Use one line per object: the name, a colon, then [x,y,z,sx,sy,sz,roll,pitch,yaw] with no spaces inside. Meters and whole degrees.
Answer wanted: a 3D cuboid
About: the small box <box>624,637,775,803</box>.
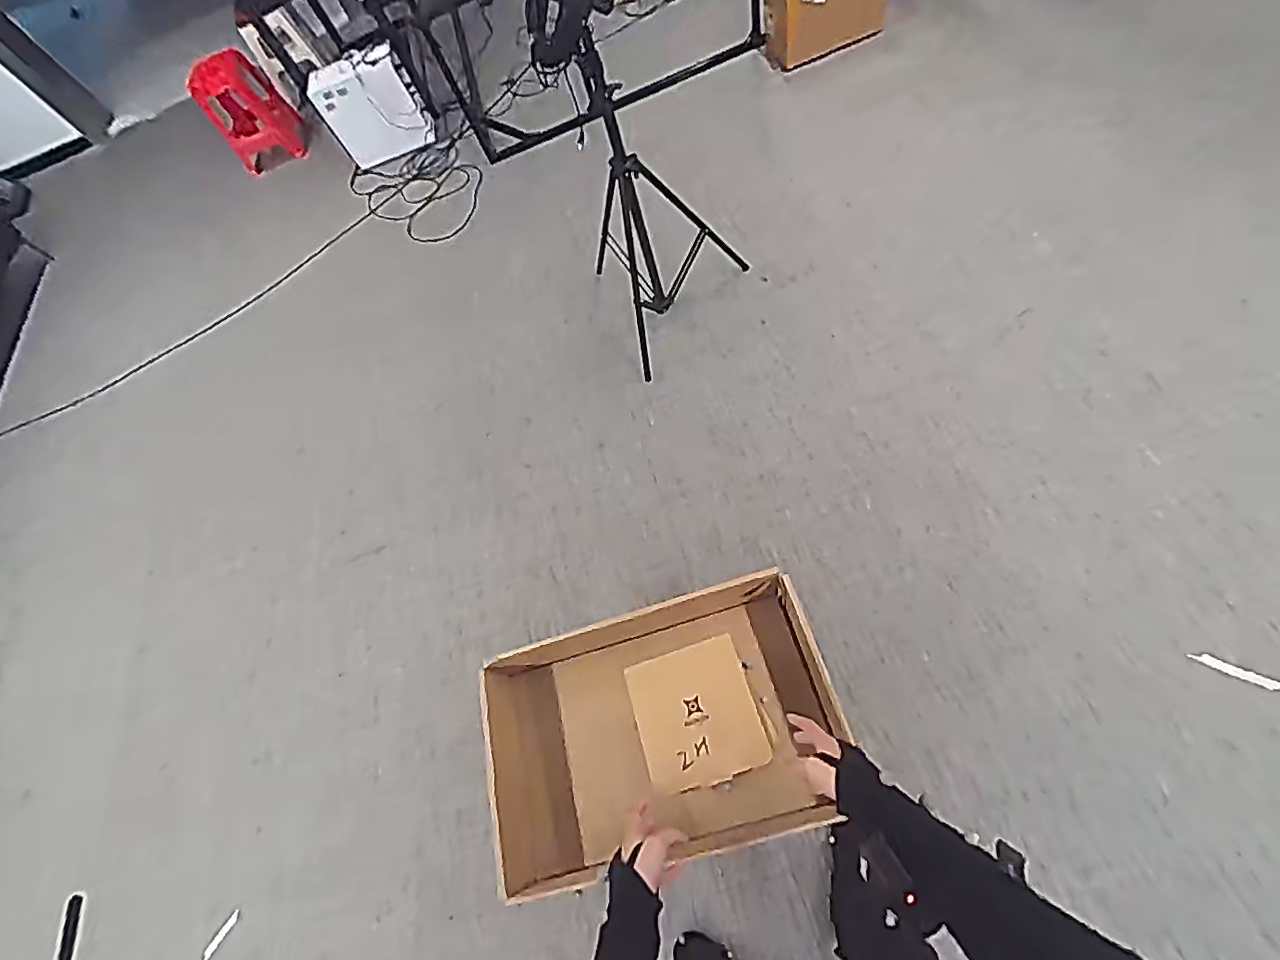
small box: [0.092,0.358,0.808,0.168,0.176,0.179,-21,61,6]
